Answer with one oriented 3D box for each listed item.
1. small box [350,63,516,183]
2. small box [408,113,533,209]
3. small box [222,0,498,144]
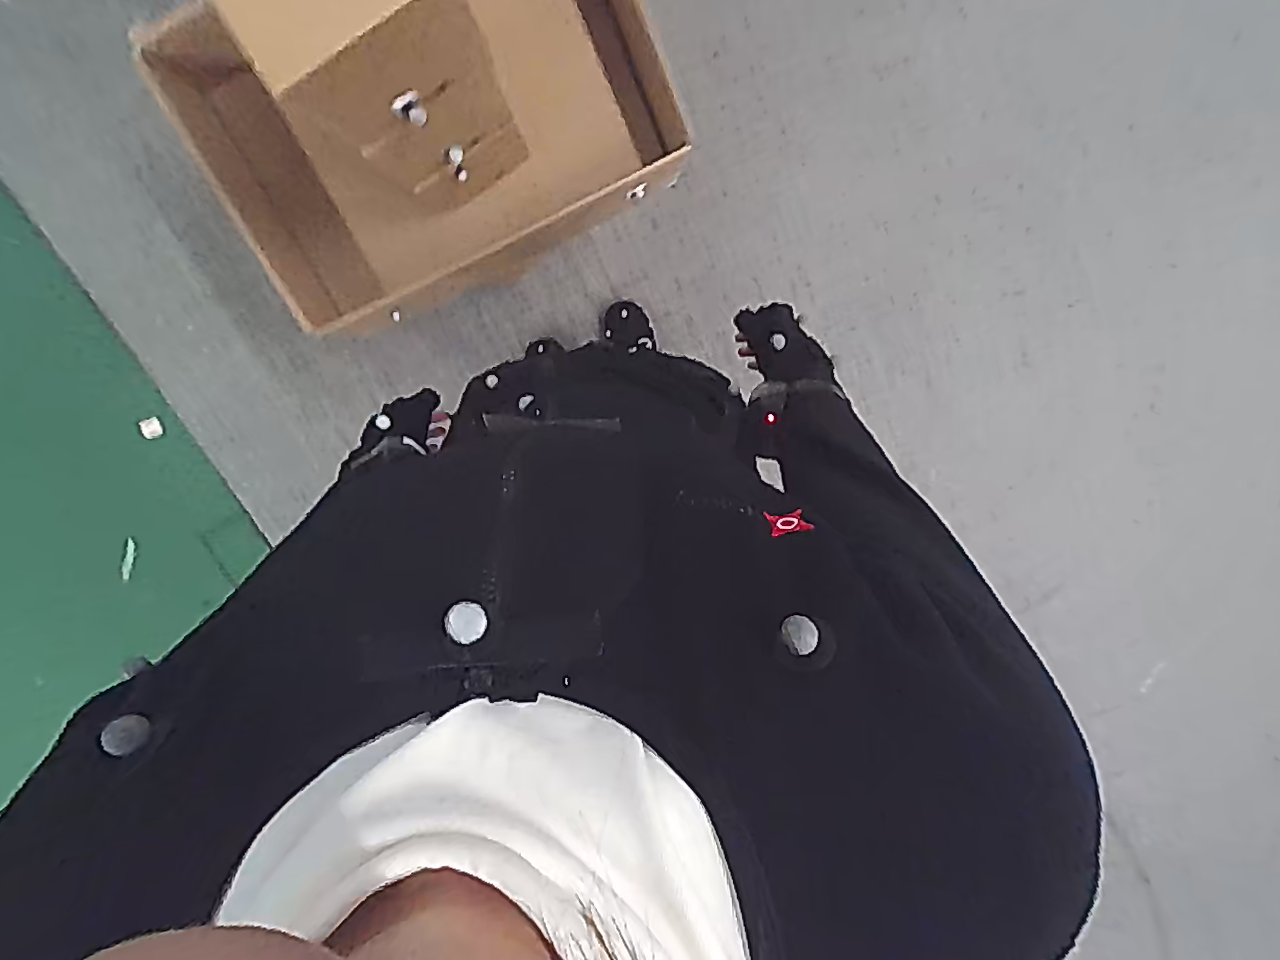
[{"bbox_3d":[-0.261,-0.471,0.604,0.168,0.176,0.179,-30,107,6],"label":"small box"},{"bbox_3d":[-0.272,-0.516,0.761,0.168,0.176,0.179,-31,106,7],"label":"small box"},{"bbox_3d":[-0.244,-0.425,0.450,0.168,0.176,0.179,-29,108,7],"label":"small box"}]
